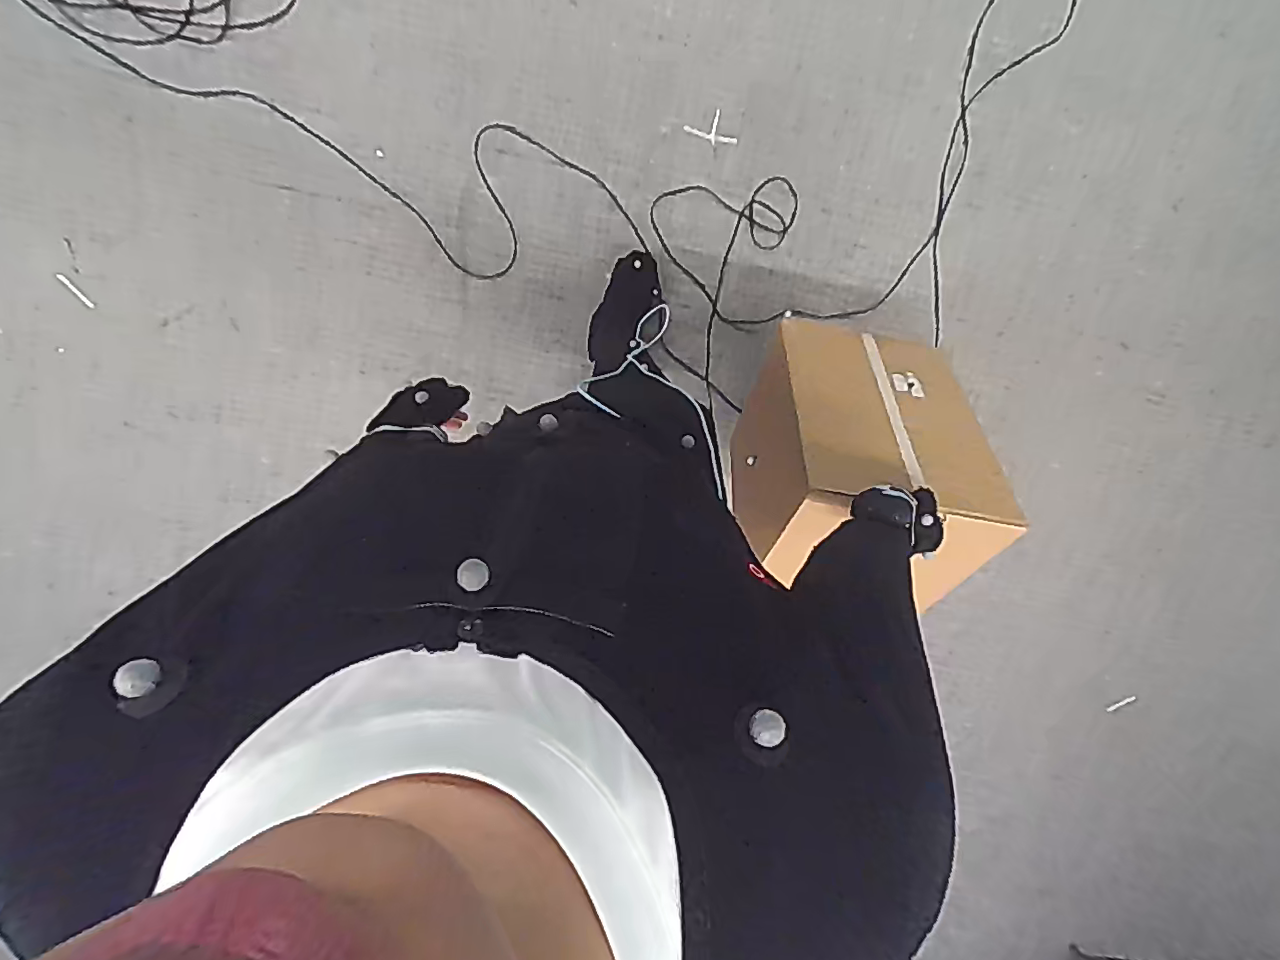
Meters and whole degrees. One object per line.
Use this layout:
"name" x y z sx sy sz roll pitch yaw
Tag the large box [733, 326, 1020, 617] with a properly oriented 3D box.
"large box" 0.365 -0.014 0.973 0.320 0.408 0.320 10 138 -5
